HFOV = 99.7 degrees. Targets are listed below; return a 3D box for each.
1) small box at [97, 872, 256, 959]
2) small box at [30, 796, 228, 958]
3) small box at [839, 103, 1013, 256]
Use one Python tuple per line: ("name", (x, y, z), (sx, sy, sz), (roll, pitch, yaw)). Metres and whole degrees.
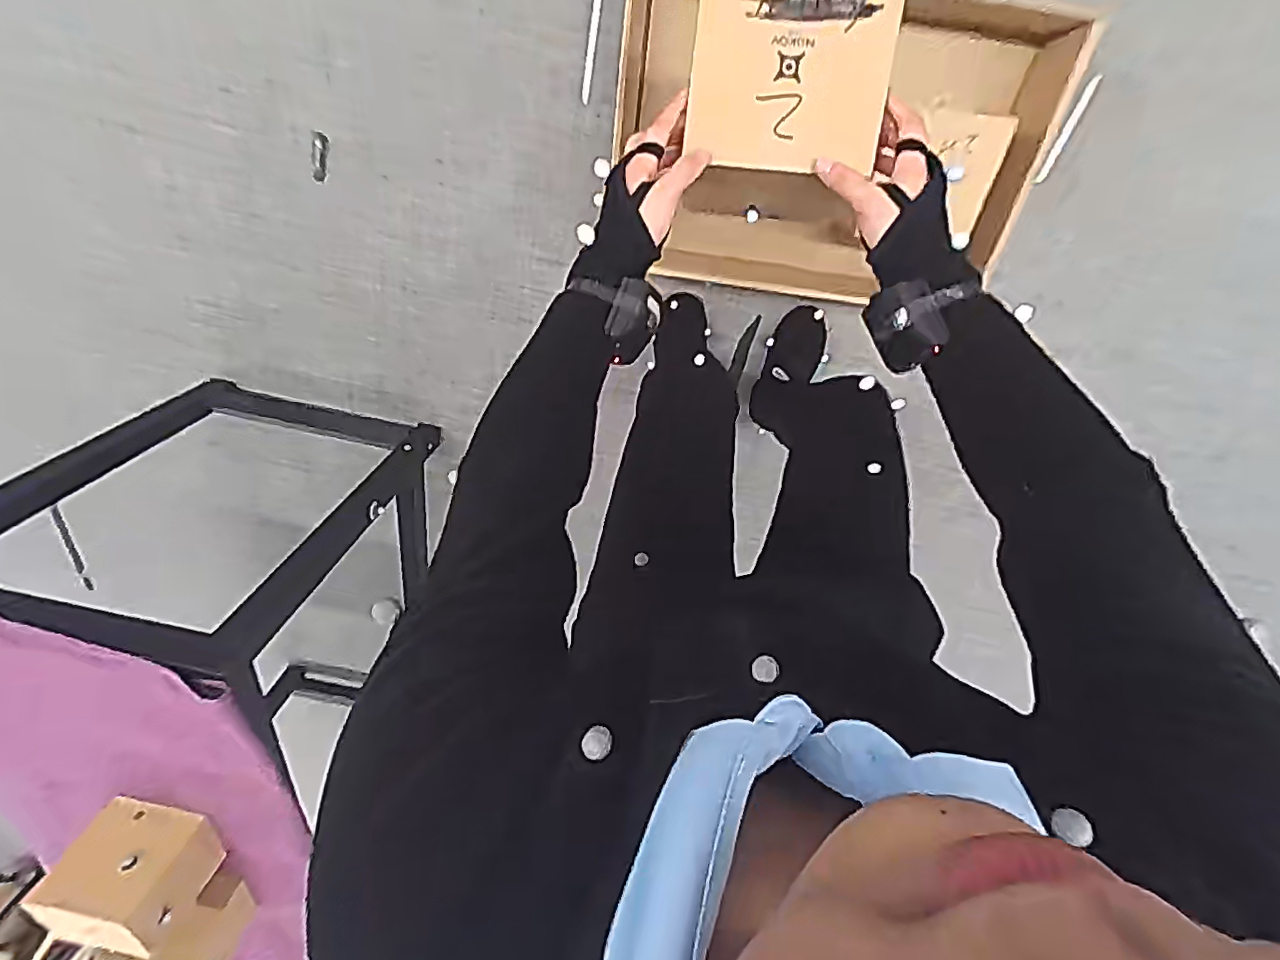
("small box", (-0.929, 0.927, 1.107), (0.168, 0.176, 0.179), (13, 122, -1))
("small box", (-0.879, 0.693, 0.954), (0.168, 0.176, 0.179), (14, 123, 0))
("small box", (0.427, -0.470, 0.848), (0.168, 0.176, 0.179), (10, 122, 0))
